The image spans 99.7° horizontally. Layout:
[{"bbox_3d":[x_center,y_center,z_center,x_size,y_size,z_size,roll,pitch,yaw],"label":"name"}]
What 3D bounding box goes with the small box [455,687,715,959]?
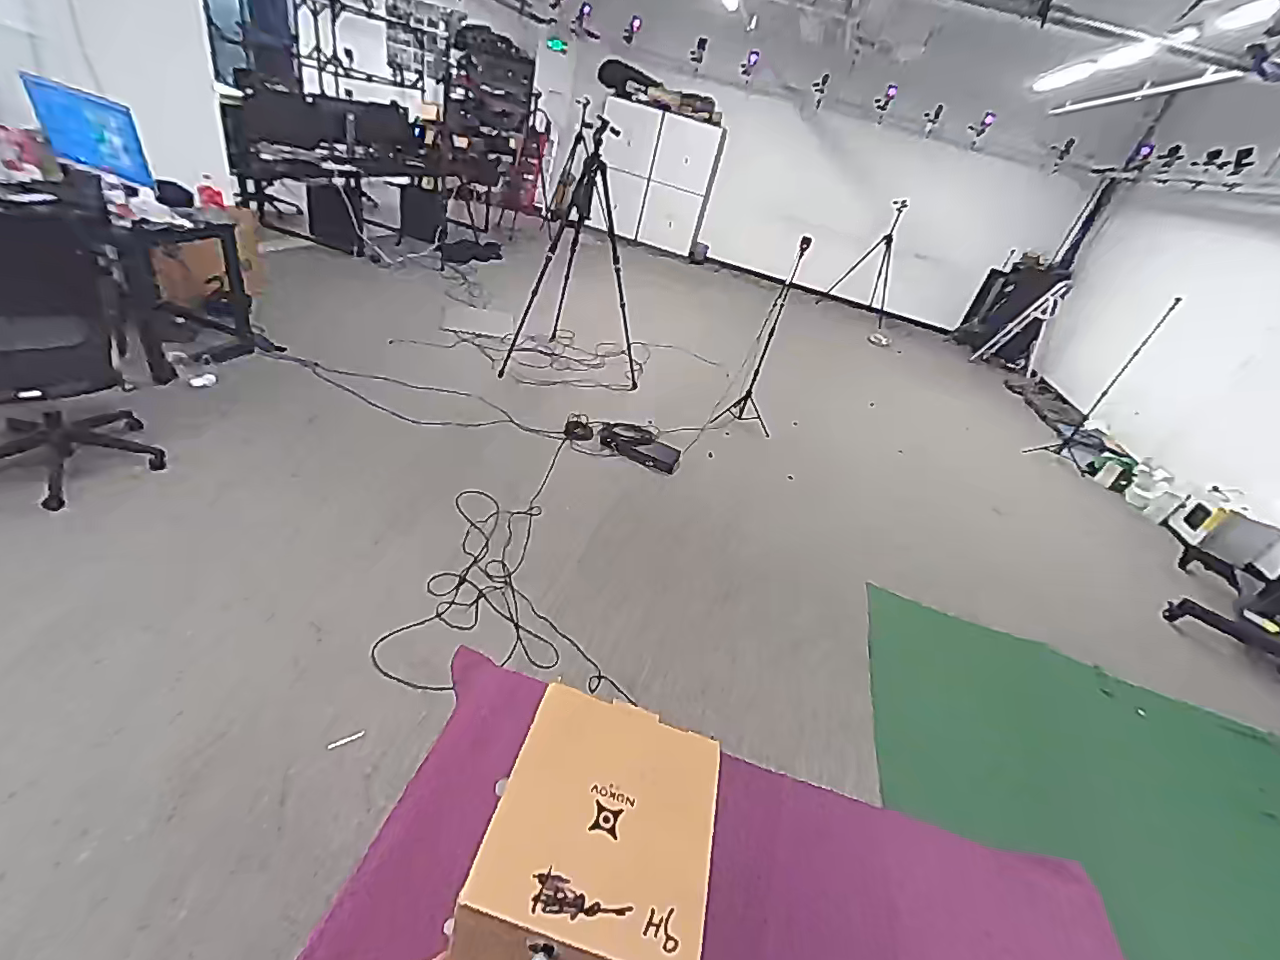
[{"bbox_3d":[-0.046,0.322,0.465,0.168,0.176,0.179,18,34,3],"label":"small box"}]
